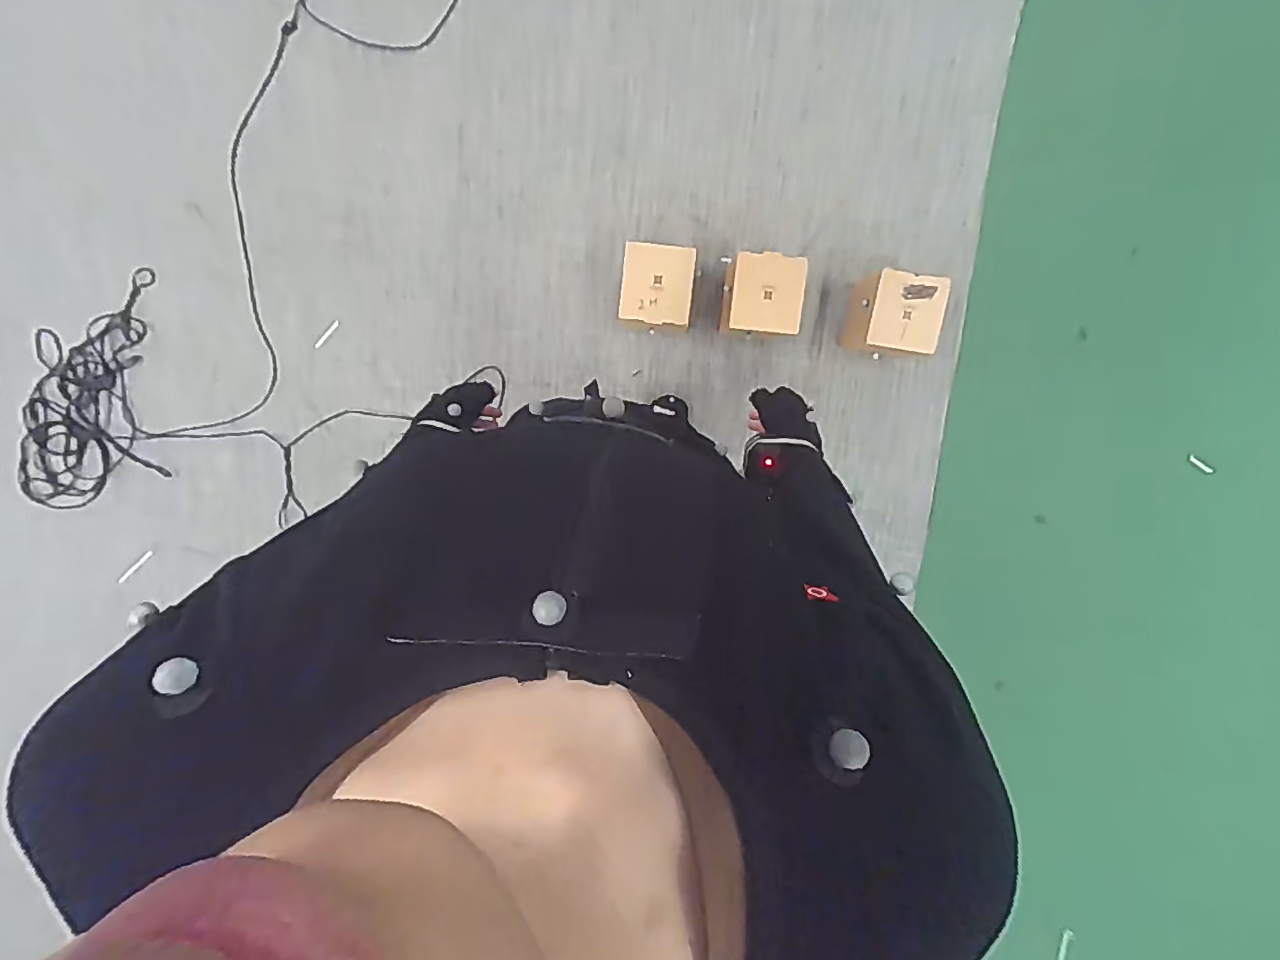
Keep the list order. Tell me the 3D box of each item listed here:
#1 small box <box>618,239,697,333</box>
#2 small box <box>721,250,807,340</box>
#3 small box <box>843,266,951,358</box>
[{"bbox_3d":[0.041,-0.465,1.320,0.168,0.176,0.179,6,99,1],"label":"small box"},{"bbox_3d":[0.295,-0.444,1.323,0.168,0.176,0.179,5,98,0],"label":"small box"},{"bbox_3d":[0.619,-0.403,1.324,0.168,0.176,0.179,9,100,0],"label":"small box"}]
